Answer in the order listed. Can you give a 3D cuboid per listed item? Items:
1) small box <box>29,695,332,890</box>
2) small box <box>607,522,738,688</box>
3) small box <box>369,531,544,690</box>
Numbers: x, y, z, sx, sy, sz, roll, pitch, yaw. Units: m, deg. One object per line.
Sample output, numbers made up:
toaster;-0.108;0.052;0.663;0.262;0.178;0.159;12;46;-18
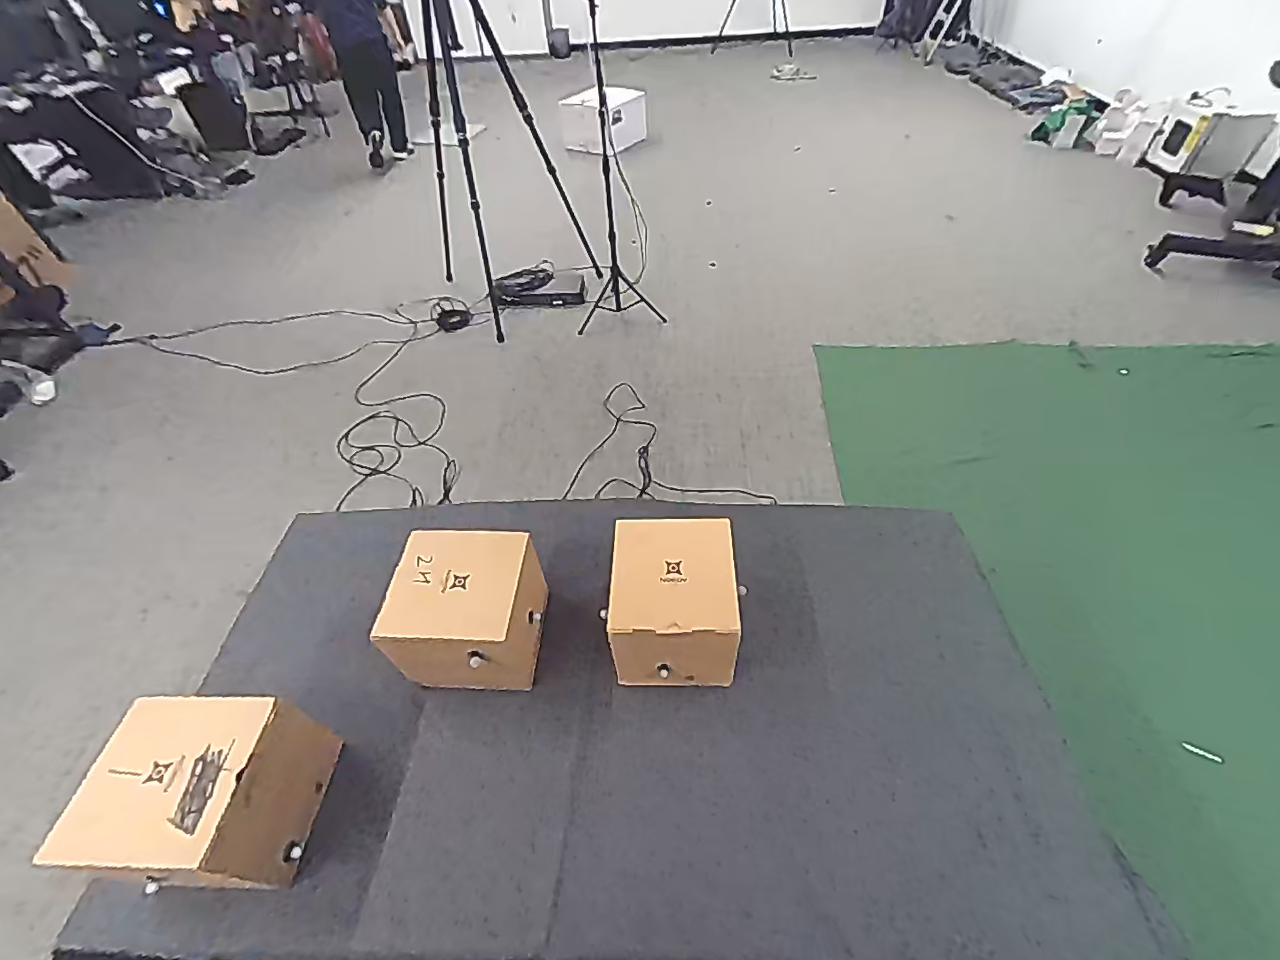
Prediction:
small box;-0.503;0.367;0.633;0.179;0.176;0.168;0;47;3
small box;0.045;0.180;0.779;0.168;0.176;0.179;0;48;3
small box;-0.245;0.191;0.779;0.179;0.176;0.168;1;49;4
